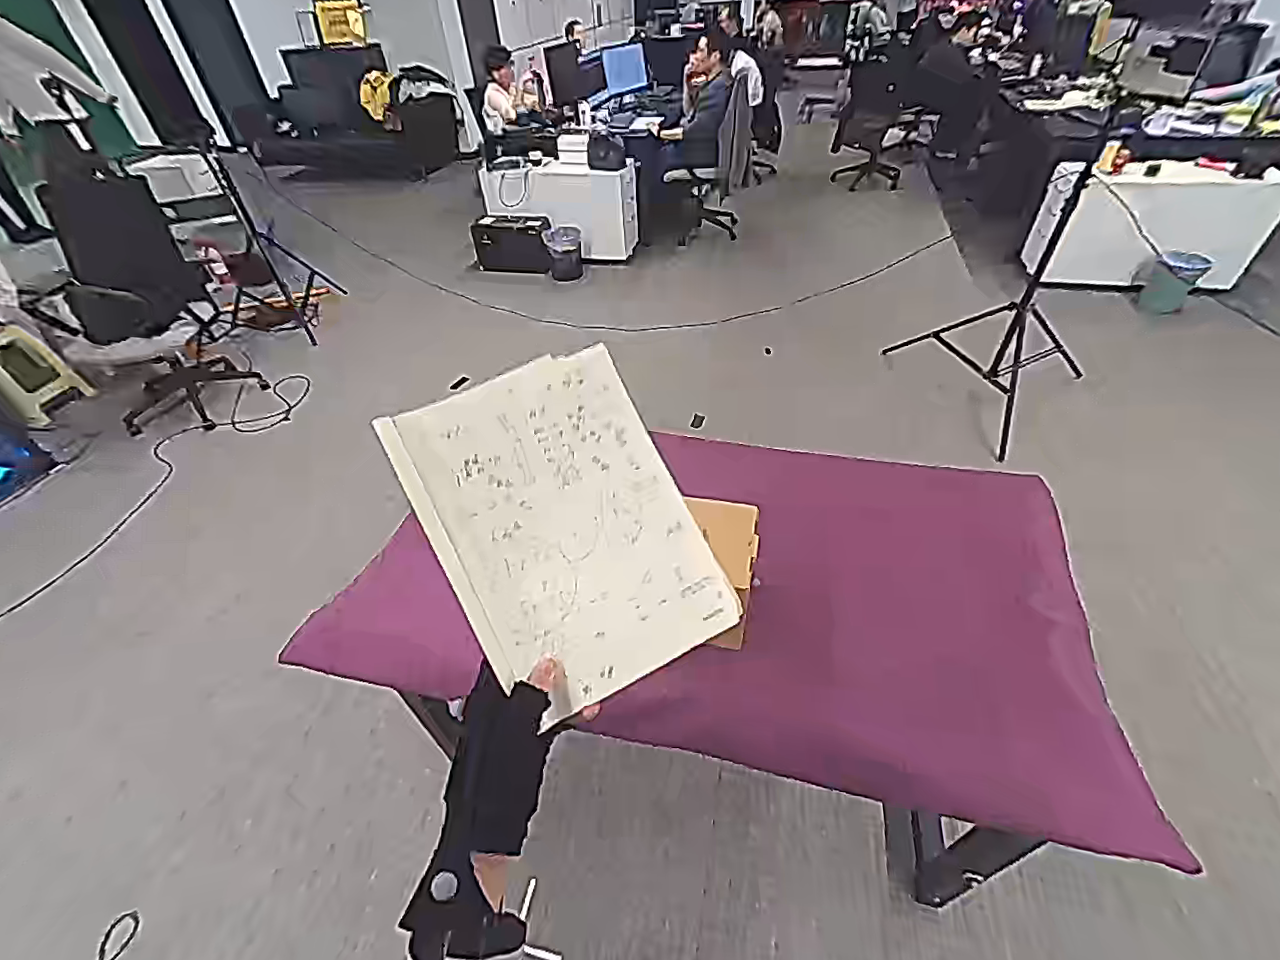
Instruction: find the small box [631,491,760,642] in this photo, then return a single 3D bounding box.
[{"bbox_3d":[0.093,0.144,0.885,0.179,0.176,0.168,8,43,12],"label":"small box"}]
